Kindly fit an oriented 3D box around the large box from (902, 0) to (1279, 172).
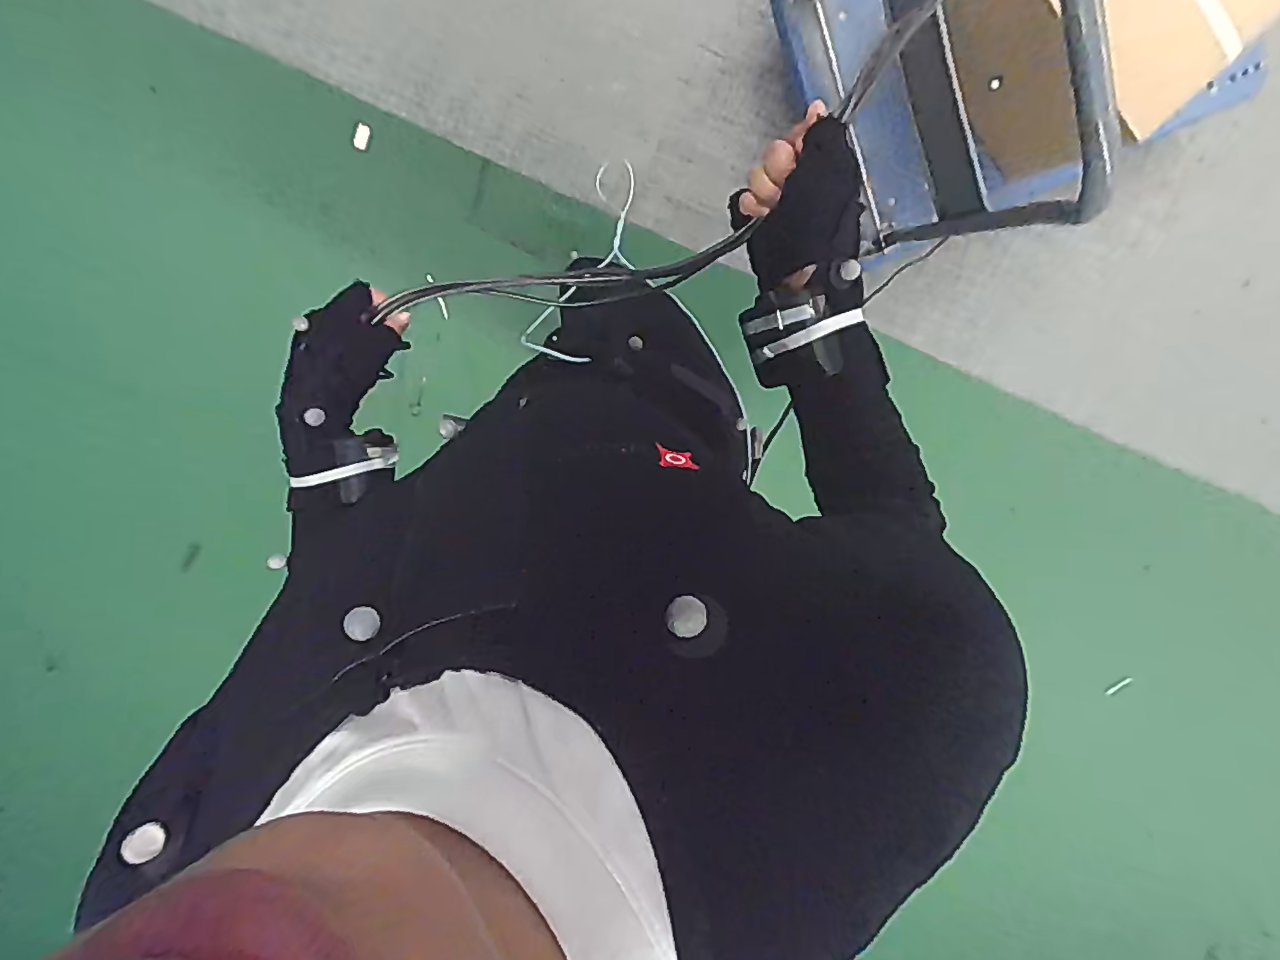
[{"bbox_3d":[0.749,-0.824,0.919,0.408,0.320,0.320,42,103,-13],"label":"large box"}]
